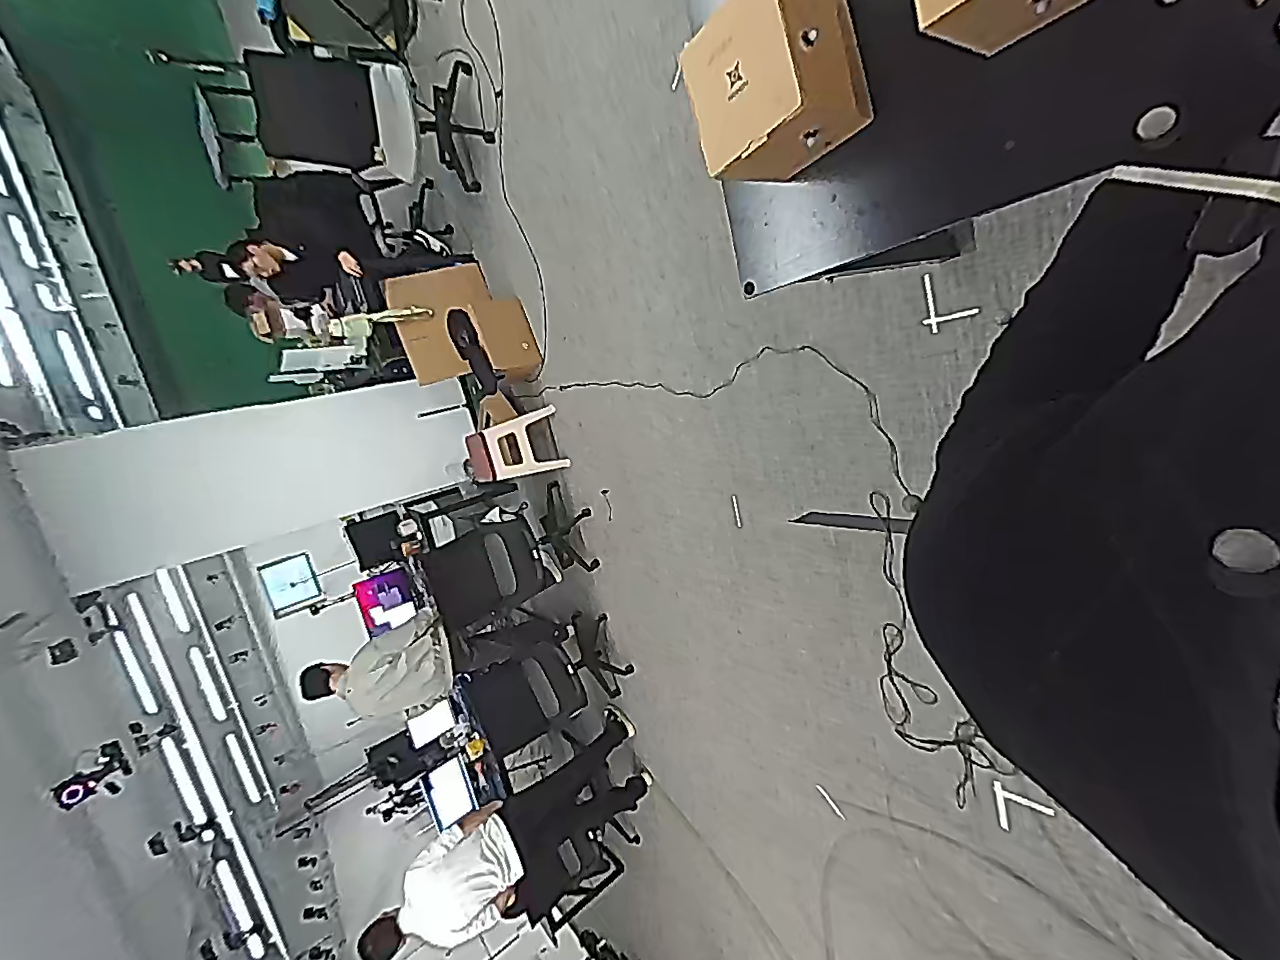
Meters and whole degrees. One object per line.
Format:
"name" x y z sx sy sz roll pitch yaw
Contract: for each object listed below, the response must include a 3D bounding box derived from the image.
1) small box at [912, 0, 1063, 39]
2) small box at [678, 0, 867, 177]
"small box" 0.361 -0.546 0.493 0.168 0.176 0.179 2 108 54
"small box" 0.185 -0.546 0.744 0.168 0.176 0.179 -9 99 54
